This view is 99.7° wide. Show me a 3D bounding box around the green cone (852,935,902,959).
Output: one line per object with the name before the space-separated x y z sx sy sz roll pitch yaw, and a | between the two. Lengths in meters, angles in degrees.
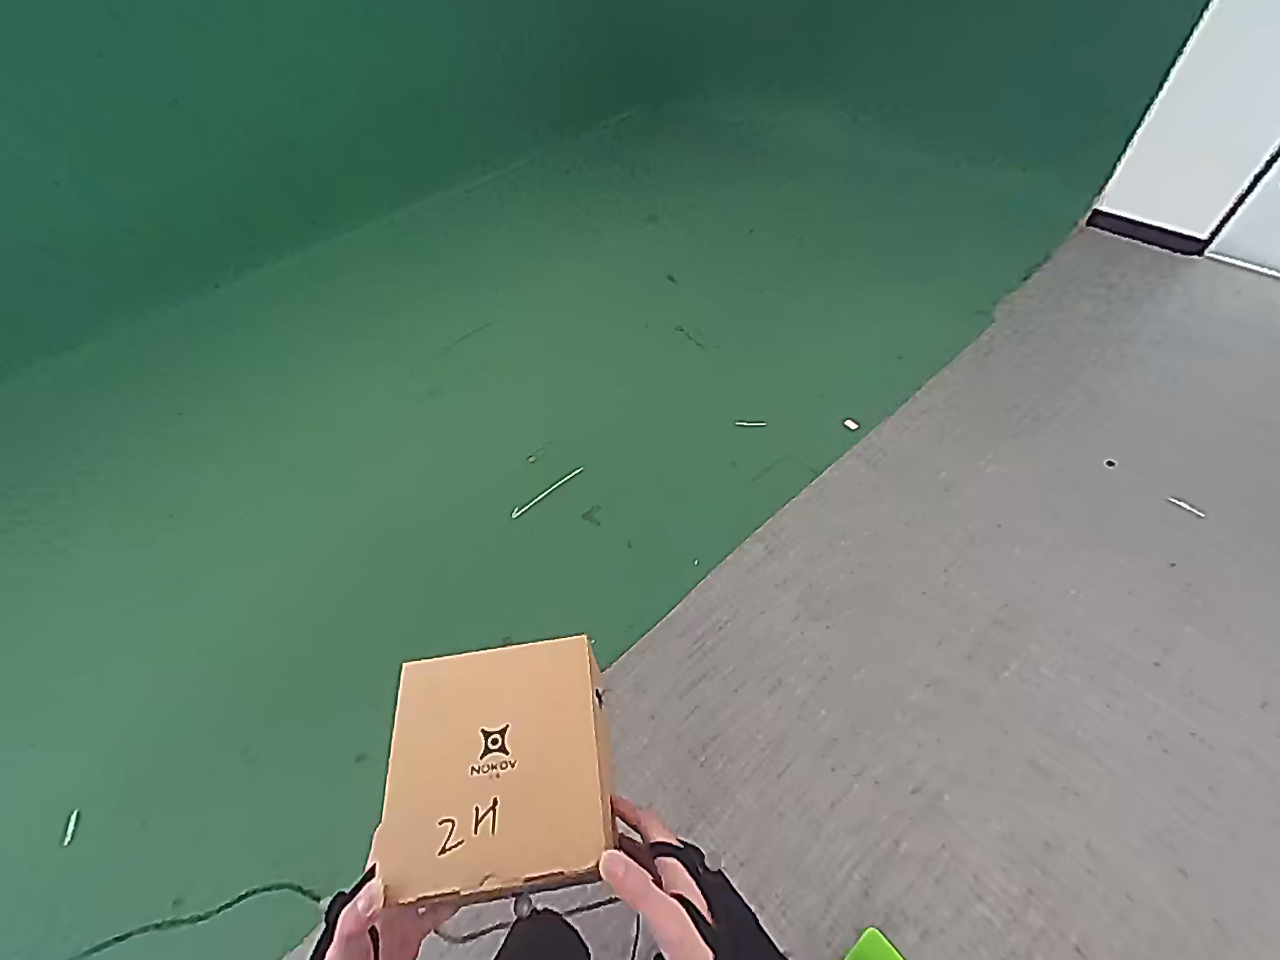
green cone | 0.478 0.984 0.952 0.202 0.368 0.200 -37 57 -18
